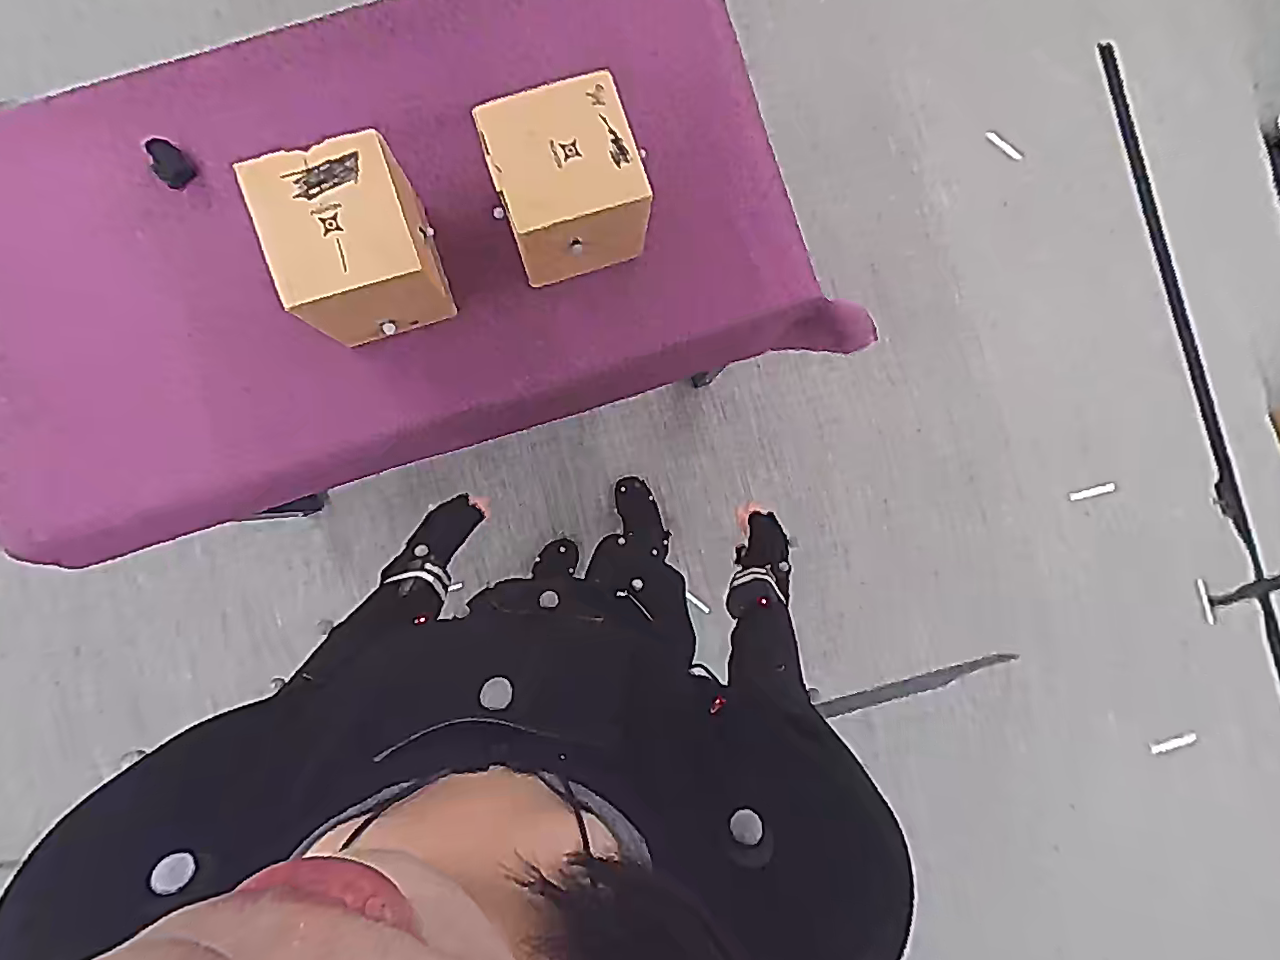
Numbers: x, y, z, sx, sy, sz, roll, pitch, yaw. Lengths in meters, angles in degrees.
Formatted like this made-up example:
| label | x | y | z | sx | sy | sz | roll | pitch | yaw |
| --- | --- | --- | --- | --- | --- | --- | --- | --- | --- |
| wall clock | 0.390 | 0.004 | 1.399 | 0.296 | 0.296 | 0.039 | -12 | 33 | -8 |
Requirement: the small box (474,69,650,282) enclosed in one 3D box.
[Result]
| label | x | y | z | sx | sy | sz | roll | pitch | yaw |
| --- | --- | --- | --- | --- | --- | --- | --- | --- | --- |
| small box | -0.097 | -0.392 | 0.728 | 0.179 | 0.176 | 0.168 | -19 | 89 | -4 |

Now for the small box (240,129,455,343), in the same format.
| label | x | y | z | sx | sy | sz | roll | pitch | yaw |
| --- | --- | --- | --- | --- | --- | --- | --- | --- | --- |
| small box | -0.361 | -0.302 | 0.703 | 0.168 | 0.176 | 0.179 | -18 | 90 | -5 |
